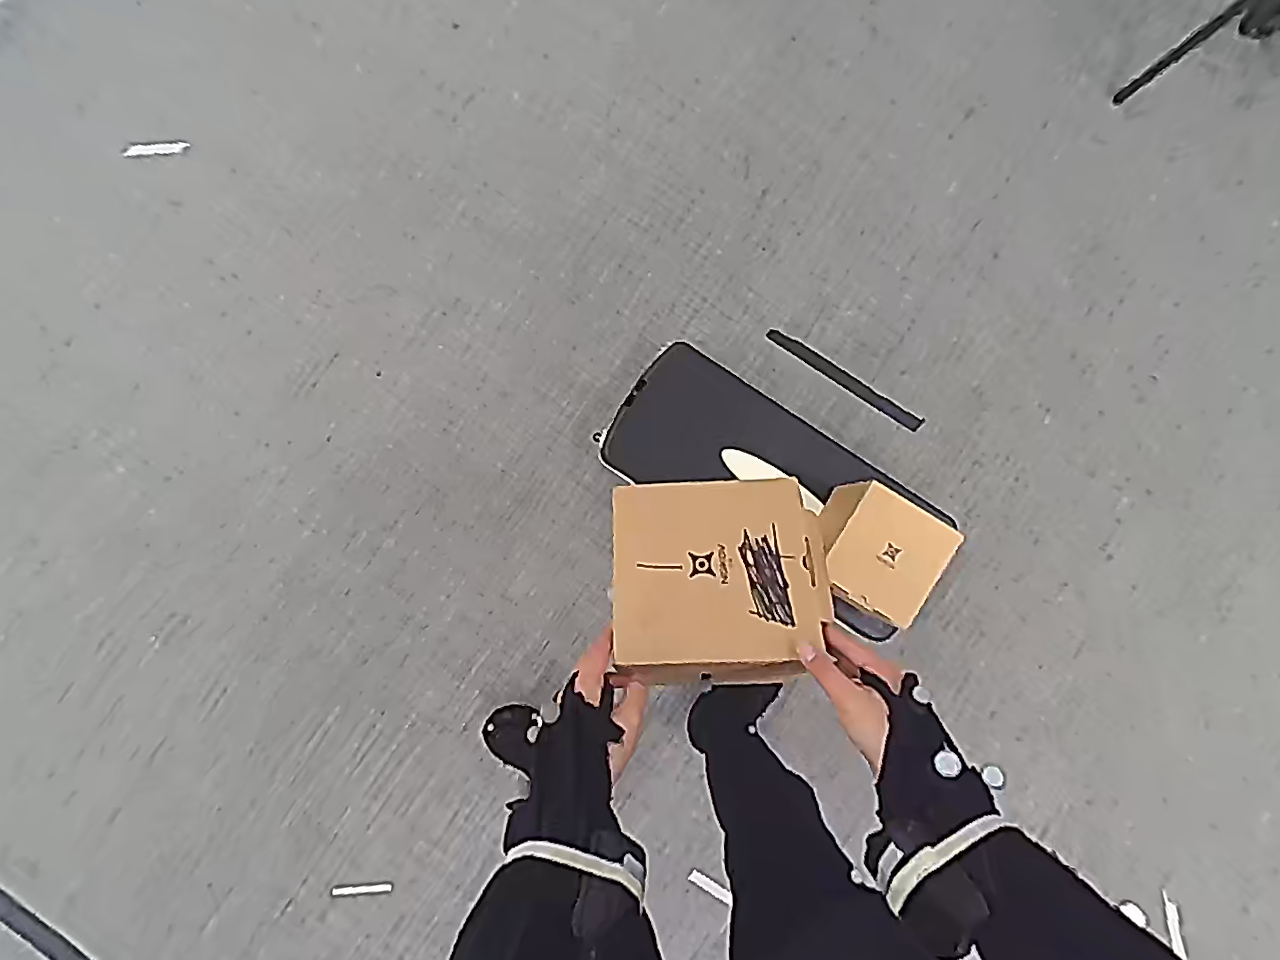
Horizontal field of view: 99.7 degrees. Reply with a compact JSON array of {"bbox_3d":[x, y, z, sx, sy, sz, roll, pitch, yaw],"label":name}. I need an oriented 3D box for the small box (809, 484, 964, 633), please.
[{"bbox_3d":[0.389,0.124,0.912,0.168,0.176,0.179,33,88,2],"label":"small box"}]

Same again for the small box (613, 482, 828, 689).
[{"bbox_3d":[0.067,0.112,0.540,0.179,0.176,0.168,-3,63,3],"label":"small box"}]
